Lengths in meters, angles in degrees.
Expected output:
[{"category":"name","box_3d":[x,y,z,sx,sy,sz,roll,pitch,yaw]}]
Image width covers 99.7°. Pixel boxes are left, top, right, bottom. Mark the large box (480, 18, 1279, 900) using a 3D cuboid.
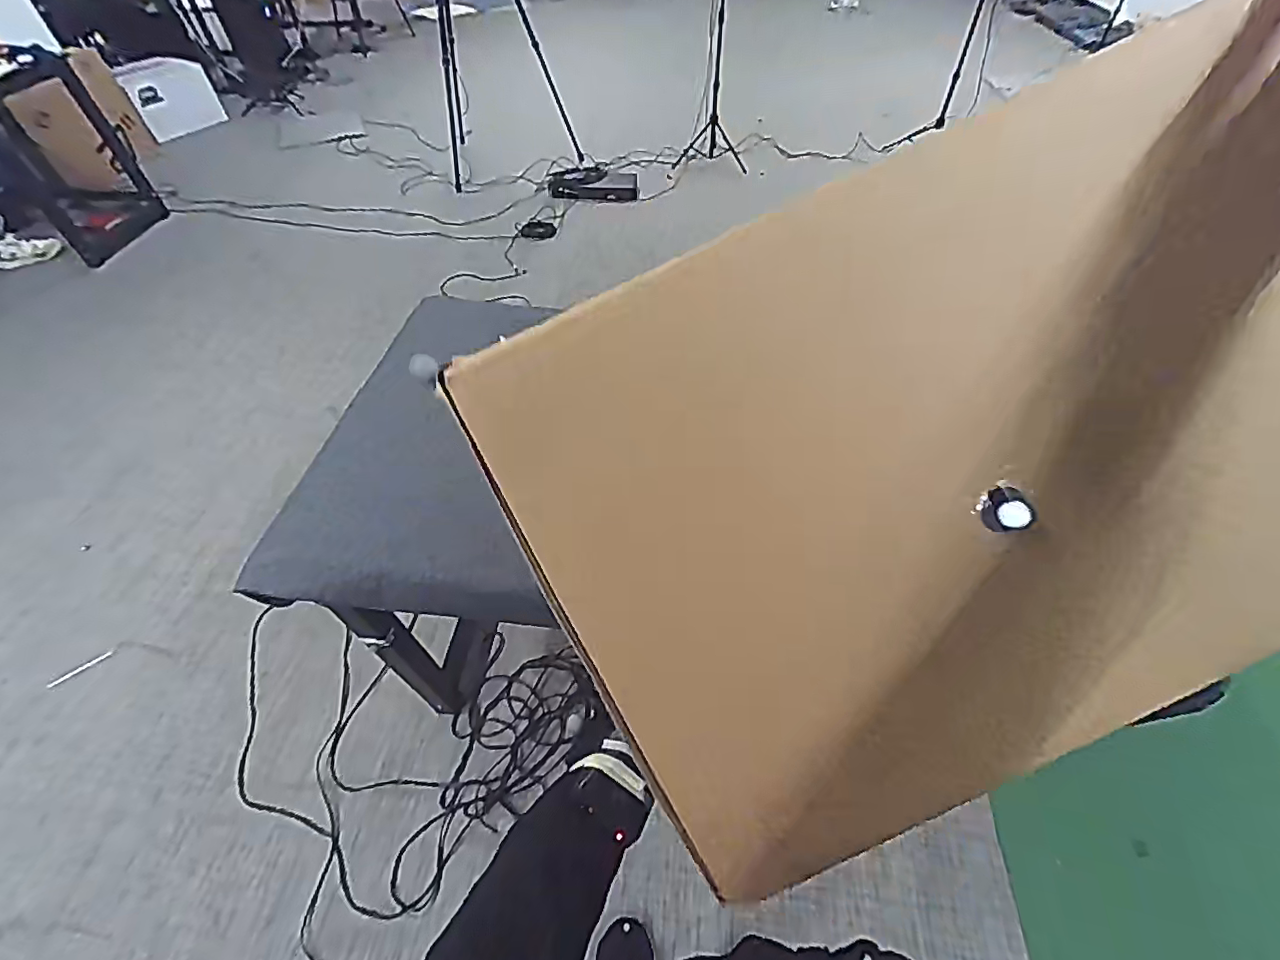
[{"category":"large box","box_3d":[0.156,-0.013,0.413,0.408,0.320,0.320,-28,11,-1]}]
